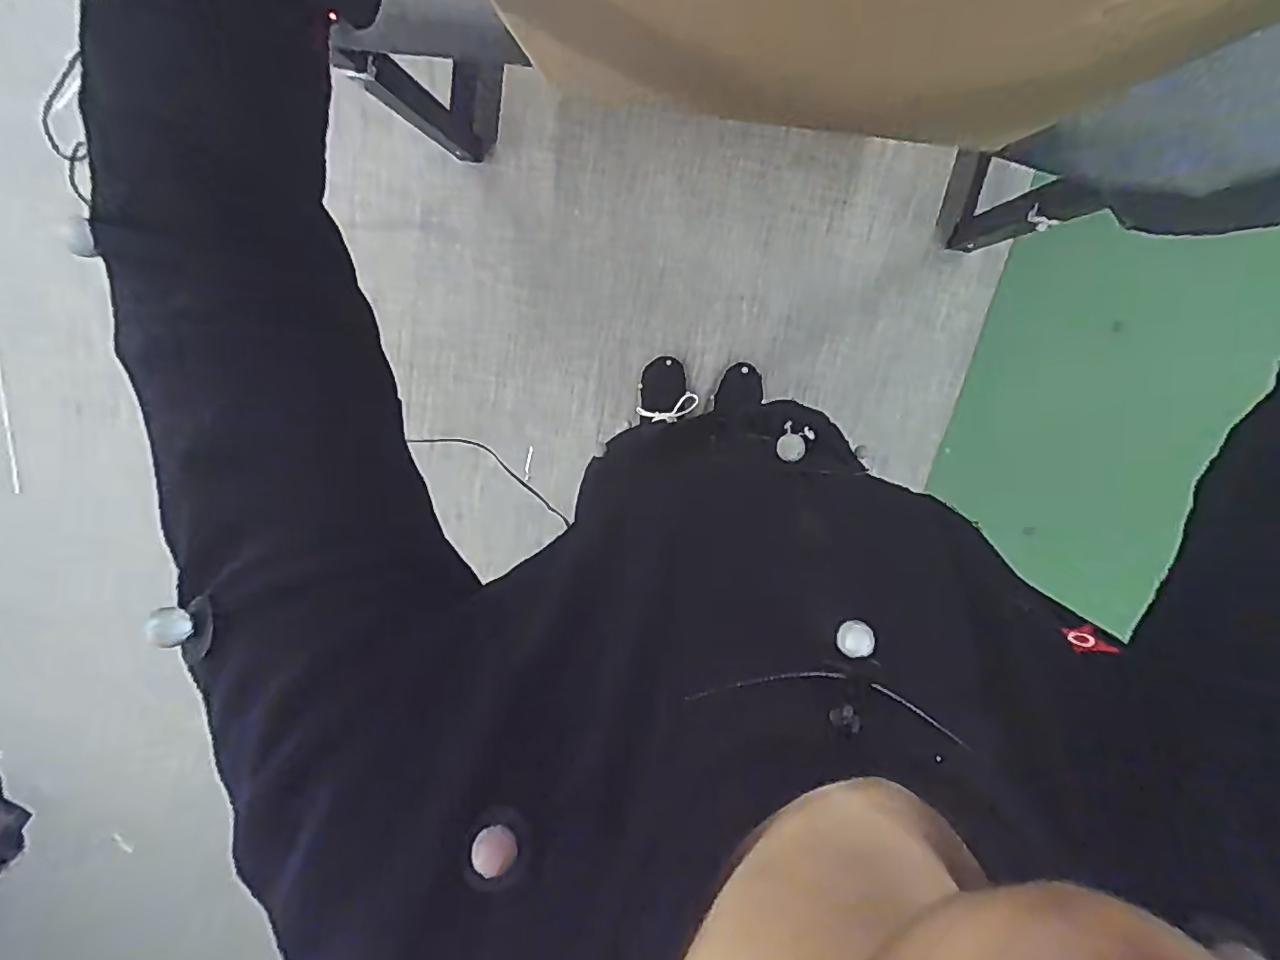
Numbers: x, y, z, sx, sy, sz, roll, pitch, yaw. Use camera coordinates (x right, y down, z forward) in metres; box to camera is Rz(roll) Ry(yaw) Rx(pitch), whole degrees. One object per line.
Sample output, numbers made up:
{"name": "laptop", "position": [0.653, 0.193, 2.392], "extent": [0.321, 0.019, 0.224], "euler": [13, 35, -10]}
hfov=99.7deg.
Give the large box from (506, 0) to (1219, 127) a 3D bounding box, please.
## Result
{"name": "large box", "position": [0.122, -0.427, 0.296], "extent": [0.408, 0.320, 0.320], "euler": [7, 110, 1]}
